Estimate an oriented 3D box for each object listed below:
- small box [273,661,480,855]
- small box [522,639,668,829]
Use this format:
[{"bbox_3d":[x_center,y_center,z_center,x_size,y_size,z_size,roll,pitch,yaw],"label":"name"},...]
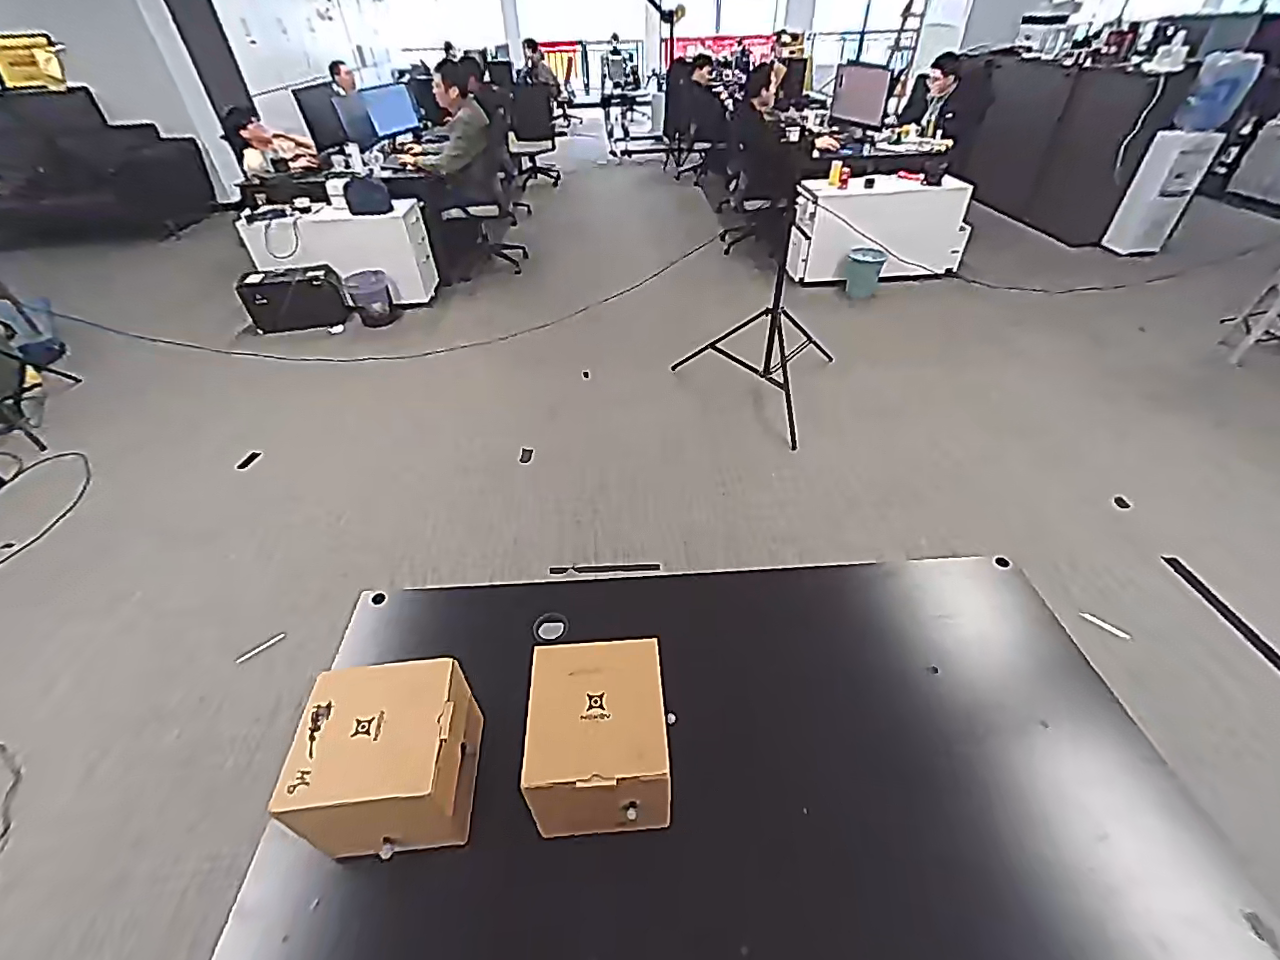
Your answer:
[{"bbox_3d":[-0.312,0.353,0.691,0.179,0.176,0.168,-4,40,-4],"label":"small box"},{"bbox_3d":[-0.052,0.334,0.707,0.168,0.176,0.179,-3,40,-3],"label":"small box"}]
